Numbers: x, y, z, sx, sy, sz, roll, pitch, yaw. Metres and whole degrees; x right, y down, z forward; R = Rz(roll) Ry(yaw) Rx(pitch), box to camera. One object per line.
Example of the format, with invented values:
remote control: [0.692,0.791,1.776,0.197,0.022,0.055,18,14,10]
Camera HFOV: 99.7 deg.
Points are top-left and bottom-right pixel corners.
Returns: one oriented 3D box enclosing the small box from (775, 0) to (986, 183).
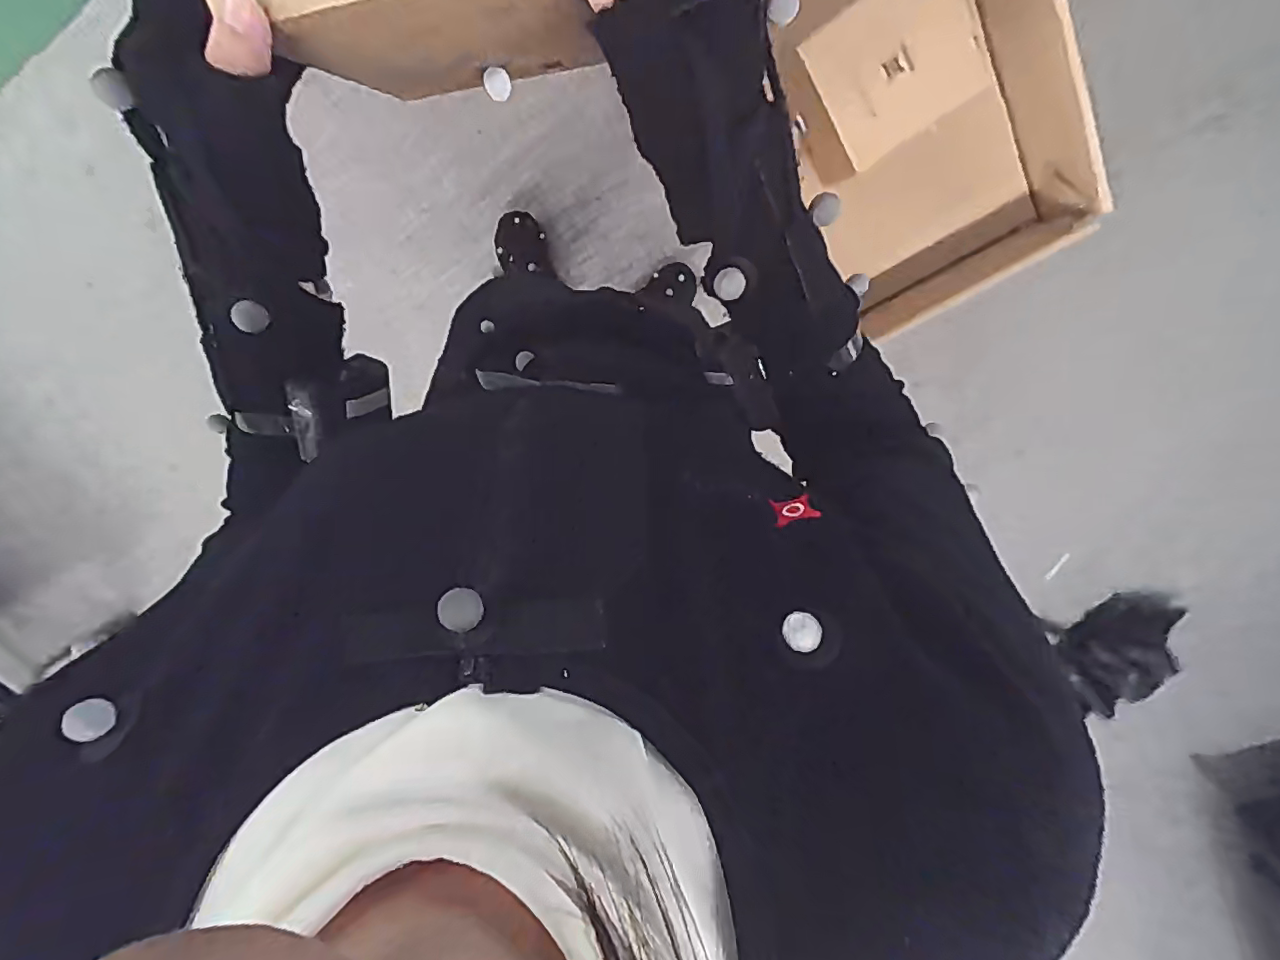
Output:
small box: [0.303,-0.526,0.715,0.179,0.176,0.168,-31,109,15]

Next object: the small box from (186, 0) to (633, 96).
small box: [-0.099,-0.295,0.231,0.168,0.176,0.179,-7,117,7]
